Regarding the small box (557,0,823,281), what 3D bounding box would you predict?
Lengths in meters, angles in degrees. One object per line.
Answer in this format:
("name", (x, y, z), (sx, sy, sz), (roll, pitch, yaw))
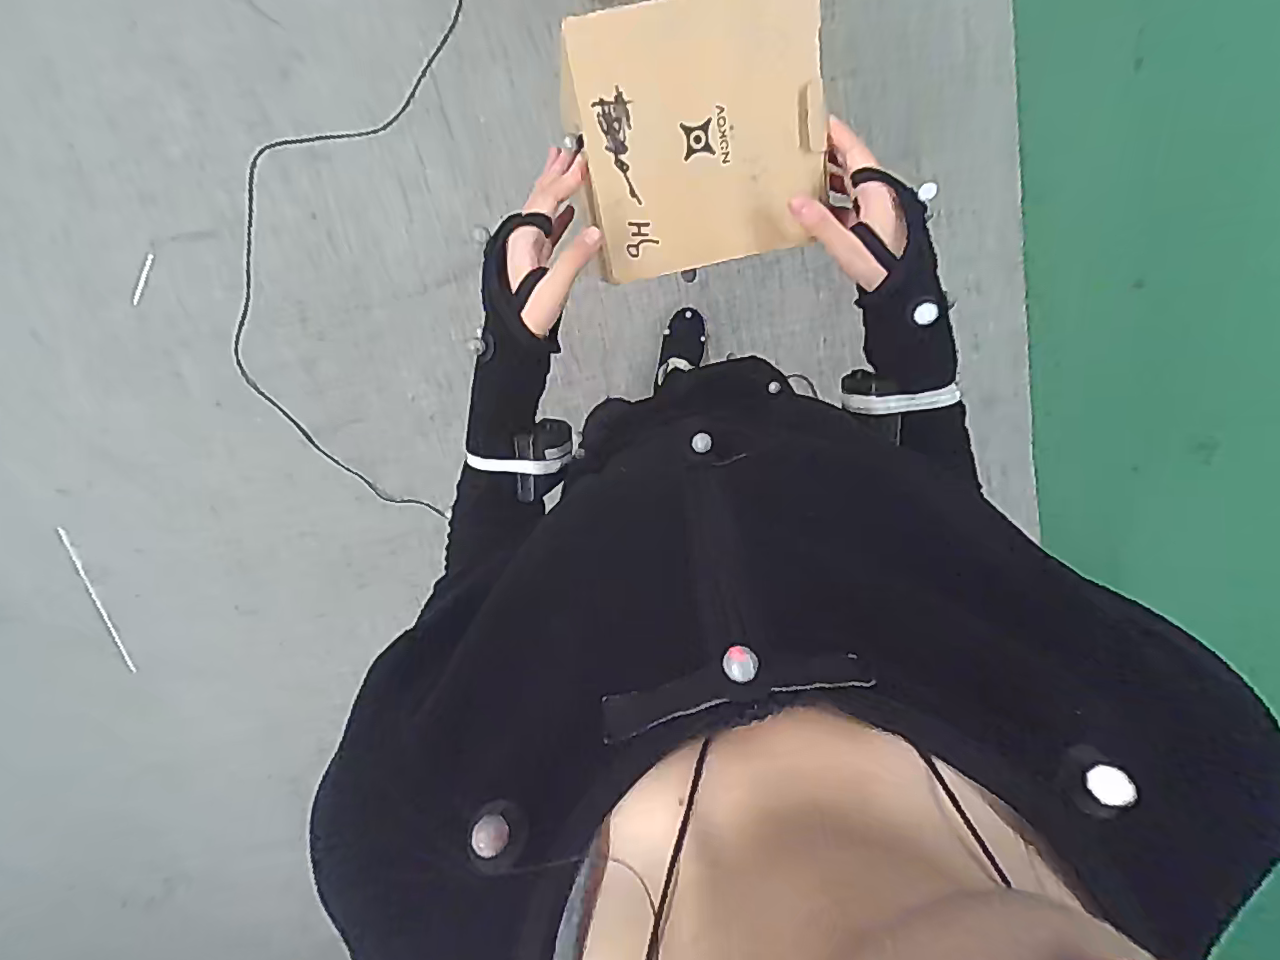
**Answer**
("small box", (0.032, -0.272, 0.457), (0.179, 0.176, 0.168), (-13, 112, -3))
